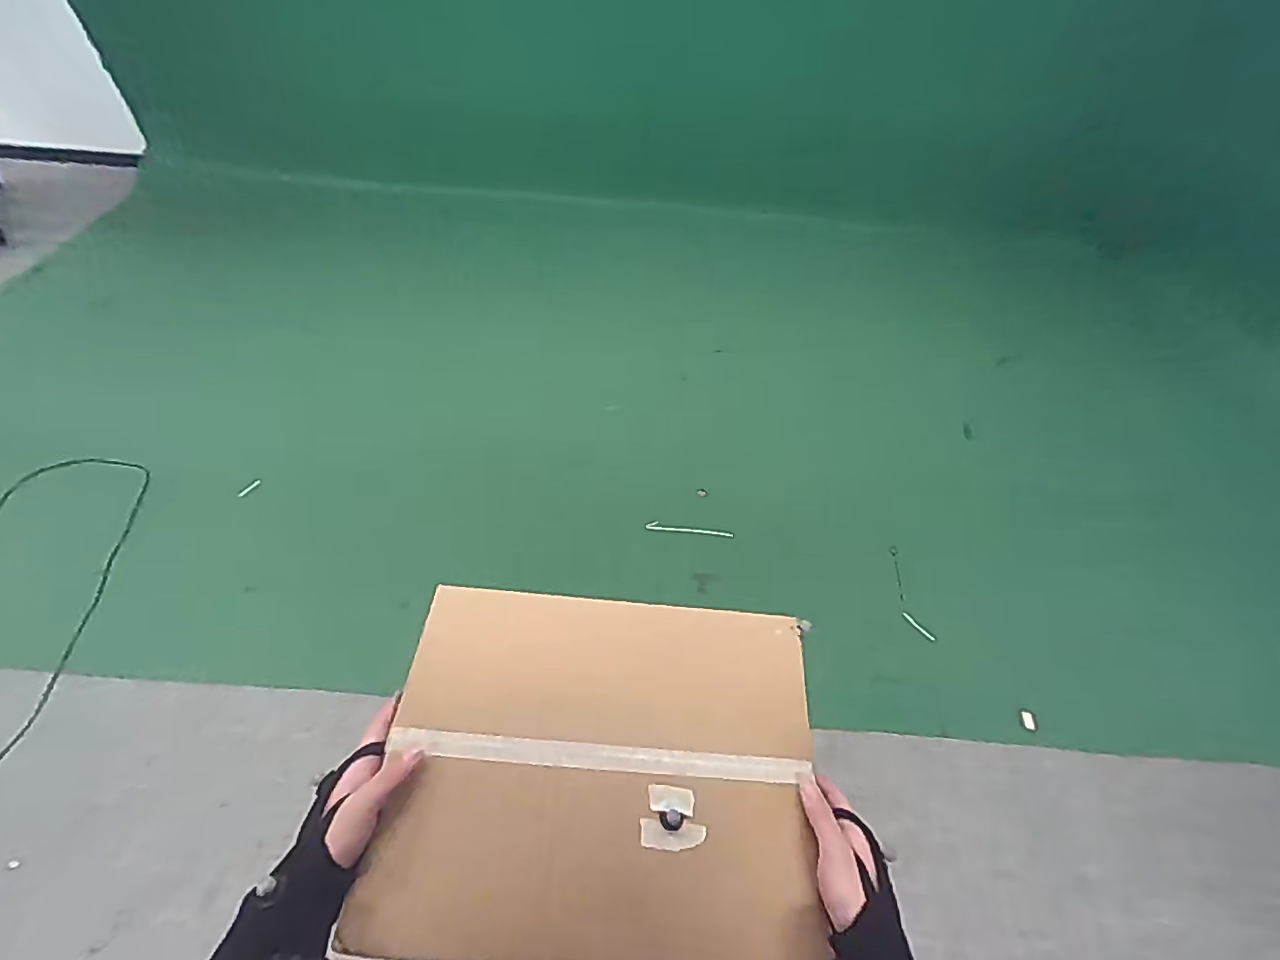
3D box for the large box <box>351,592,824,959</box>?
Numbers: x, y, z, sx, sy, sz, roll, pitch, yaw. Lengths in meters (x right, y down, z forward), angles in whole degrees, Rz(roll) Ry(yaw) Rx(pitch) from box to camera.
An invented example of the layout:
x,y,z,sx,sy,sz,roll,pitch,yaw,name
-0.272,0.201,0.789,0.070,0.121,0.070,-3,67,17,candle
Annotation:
x,y,z,sx,sy,sz,roll,pitch,yaw,name
-0.046,0.351,0.652,0.408,0.320,0.320,5,56,-1,large box
